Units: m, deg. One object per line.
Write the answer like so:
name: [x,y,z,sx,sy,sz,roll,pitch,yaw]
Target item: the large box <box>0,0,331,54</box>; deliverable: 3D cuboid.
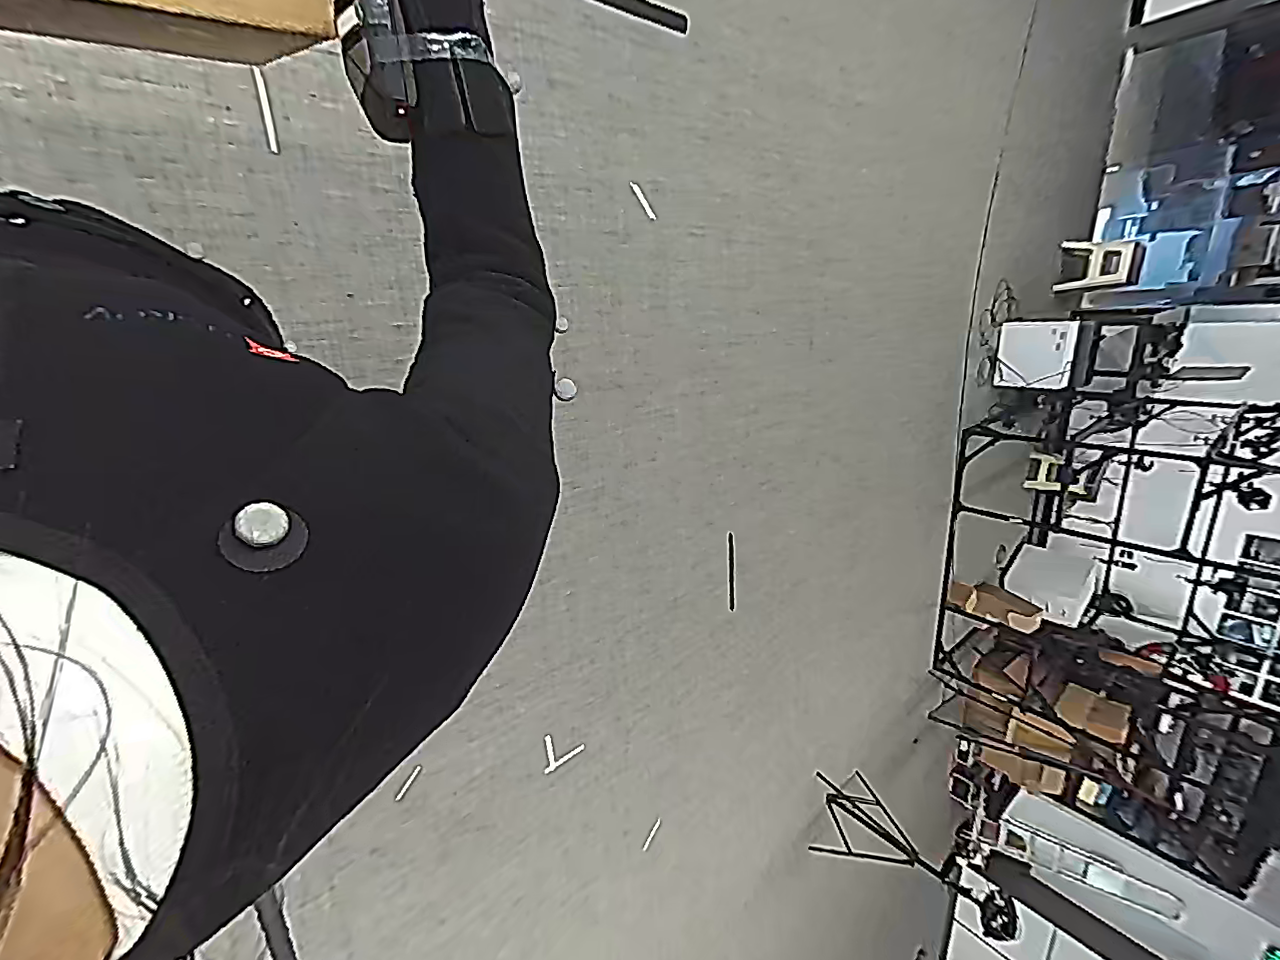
large box: [-0.431,-0.421,0.247,0.408,0.320,0.320,-20,130,-34]
